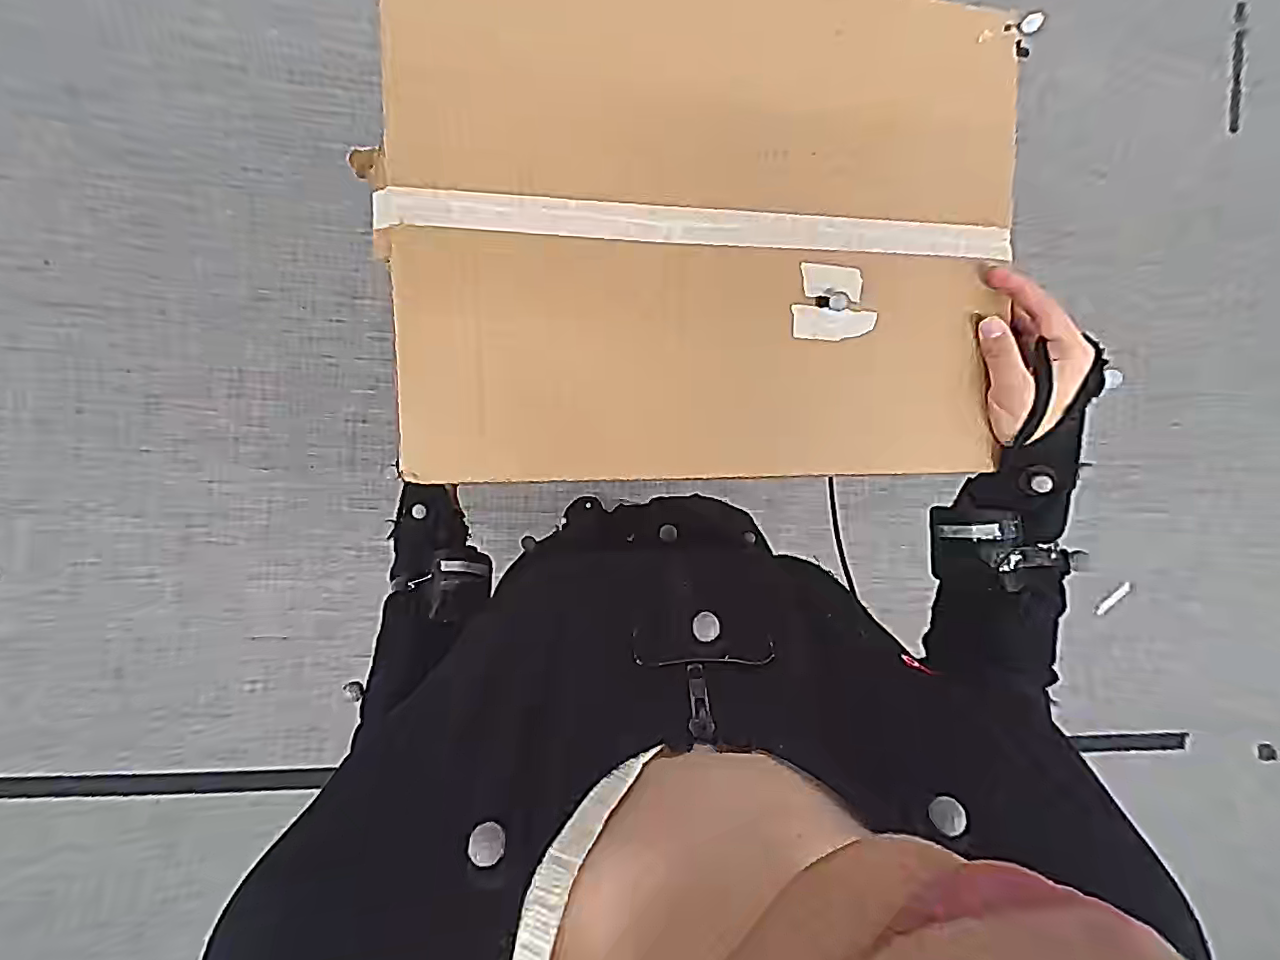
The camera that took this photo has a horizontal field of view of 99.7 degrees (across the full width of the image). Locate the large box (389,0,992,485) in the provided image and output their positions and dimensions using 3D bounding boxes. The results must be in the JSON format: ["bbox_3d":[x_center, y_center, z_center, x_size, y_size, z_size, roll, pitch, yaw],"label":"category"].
[{"bbox_3d":[0.024,-0.168,0.498,0.408,0.320,0.320,-2,95,-12],"label":"large box"}]
